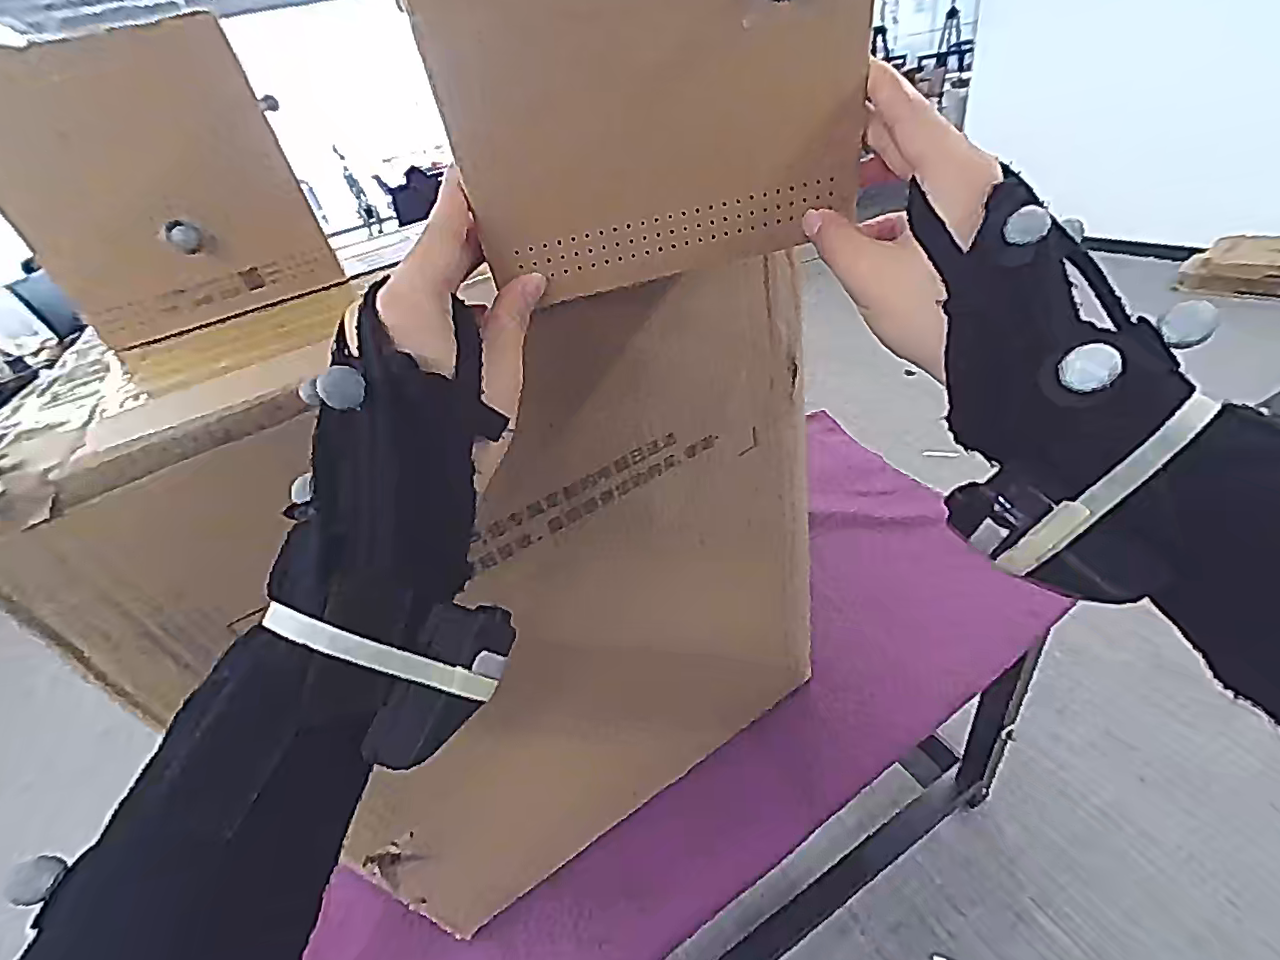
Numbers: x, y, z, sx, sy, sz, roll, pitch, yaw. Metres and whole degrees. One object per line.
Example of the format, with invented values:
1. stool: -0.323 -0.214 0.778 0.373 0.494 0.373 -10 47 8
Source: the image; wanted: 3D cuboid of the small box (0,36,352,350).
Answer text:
1. small box: -0.357 -0.220 0.430 0.168 0.176 0.179 -28 38 -18
